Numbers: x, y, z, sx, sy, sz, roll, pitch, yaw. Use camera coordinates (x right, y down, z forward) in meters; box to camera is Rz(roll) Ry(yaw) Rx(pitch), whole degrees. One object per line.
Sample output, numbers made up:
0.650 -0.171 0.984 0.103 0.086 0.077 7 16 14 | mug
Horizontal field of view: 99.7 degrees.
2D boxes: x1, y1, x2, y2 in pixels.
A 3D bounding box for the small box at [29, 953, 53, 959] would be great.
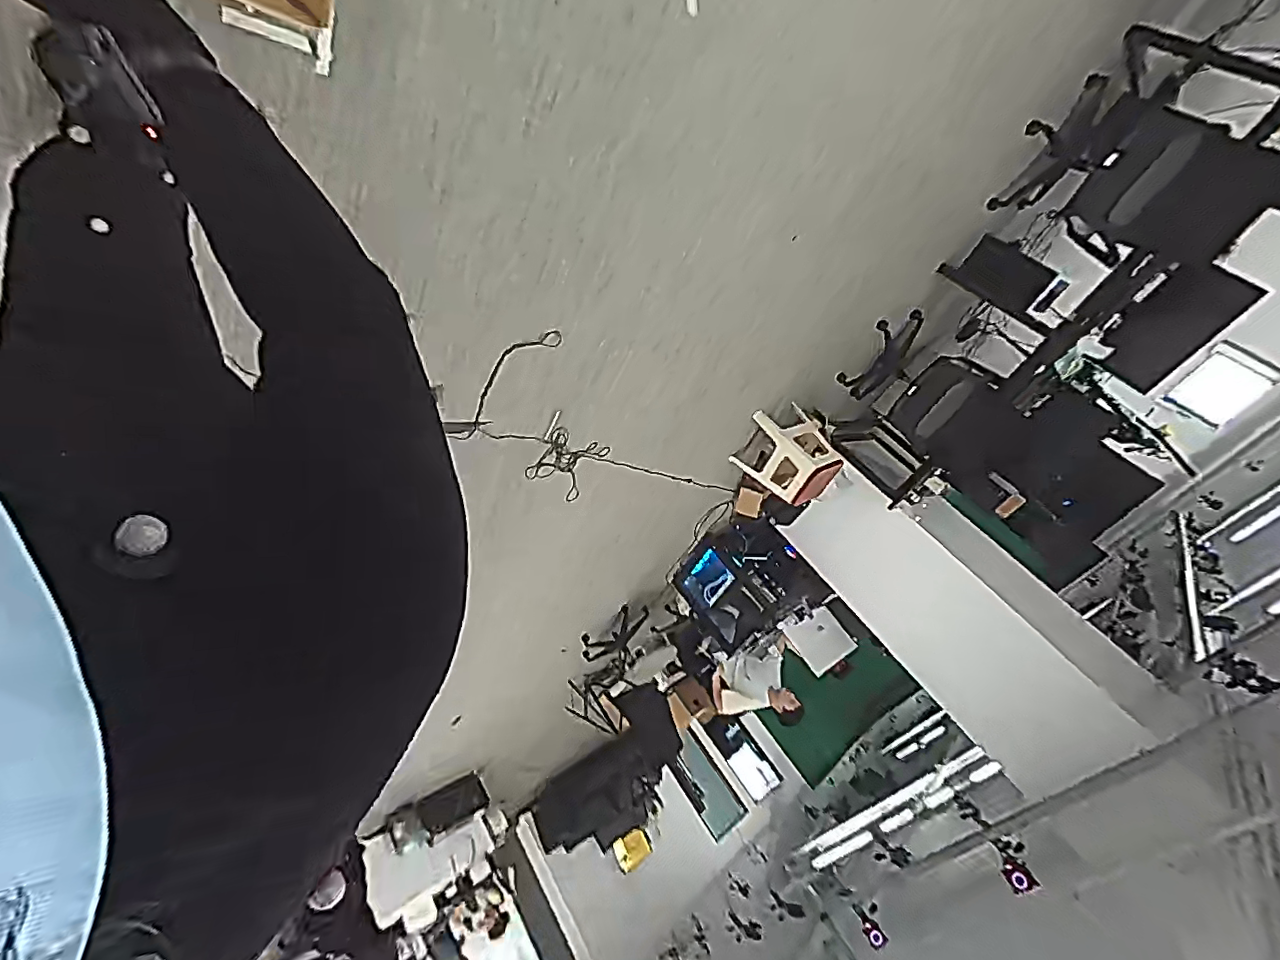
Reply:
-1.277 1.097 1.072 0.168 0.176 0.179 -7 139 -47 | small box
